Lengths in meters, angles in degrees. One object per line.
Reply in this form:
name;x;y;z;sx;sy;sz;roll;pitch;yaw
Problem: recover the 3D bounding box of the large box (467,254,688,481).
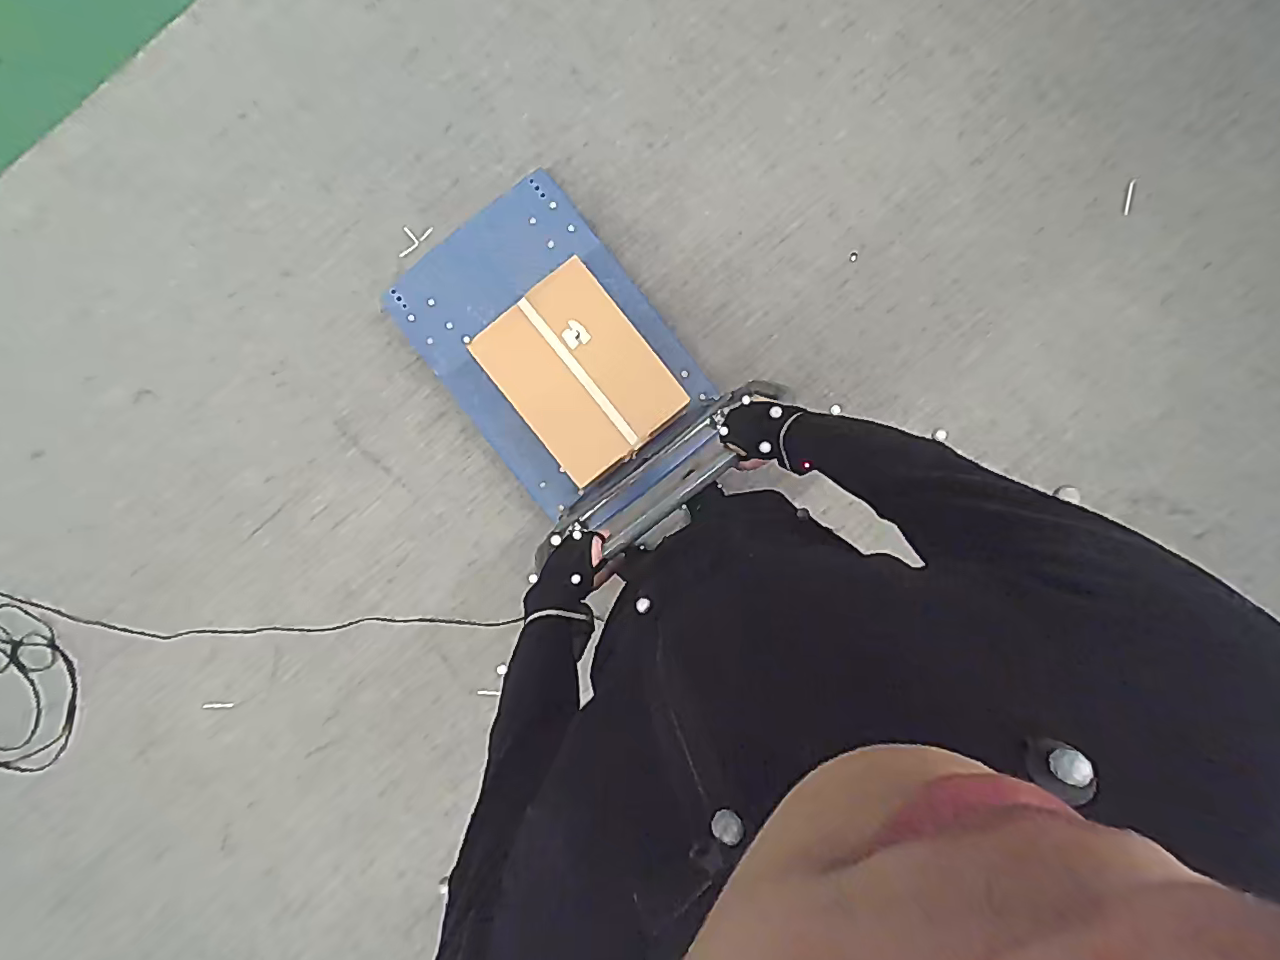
large box;-0.131;-0.246;1.315;0.320;0.320;0.408;-39;90;1
